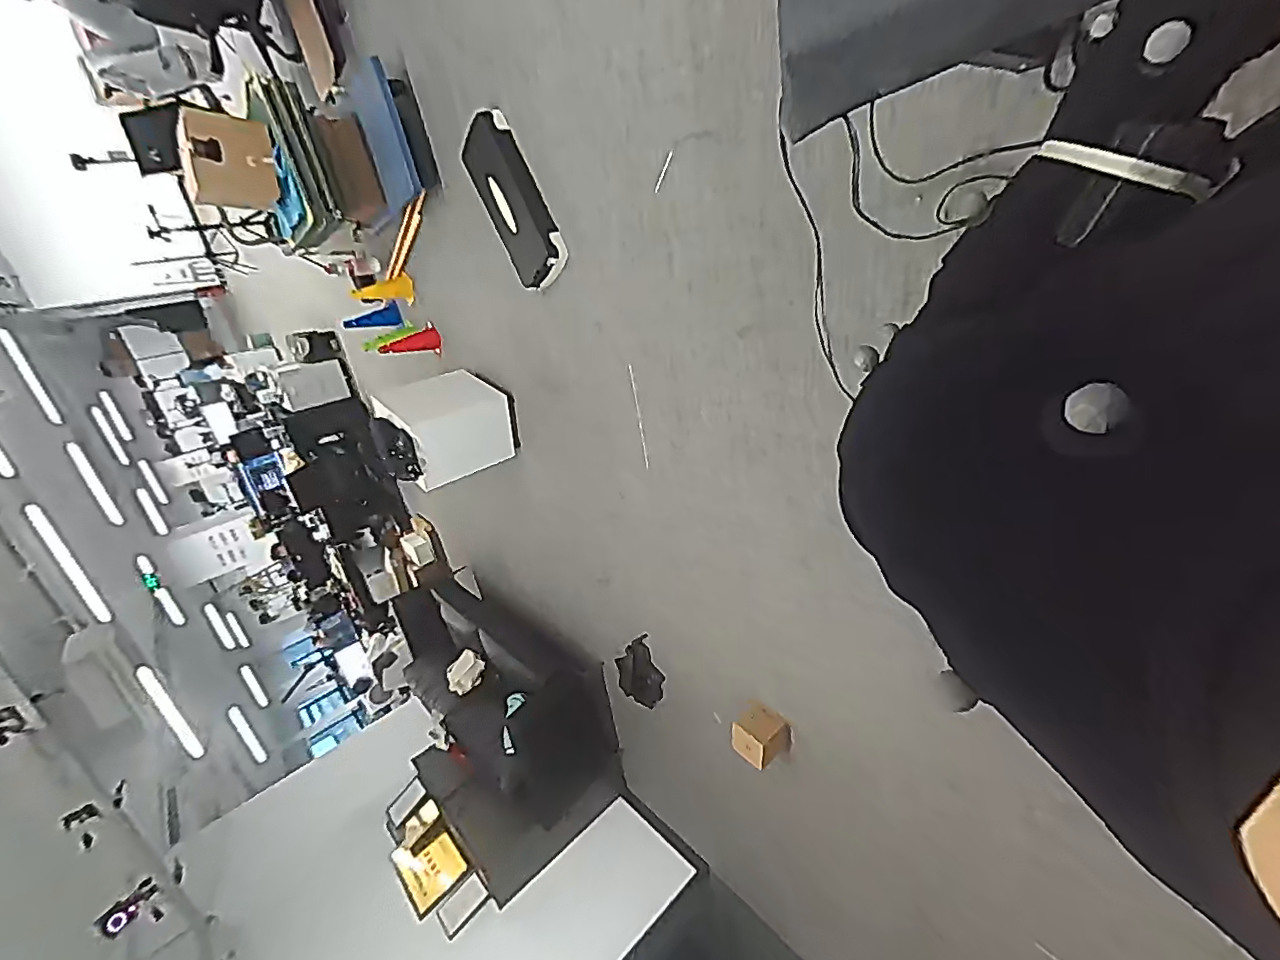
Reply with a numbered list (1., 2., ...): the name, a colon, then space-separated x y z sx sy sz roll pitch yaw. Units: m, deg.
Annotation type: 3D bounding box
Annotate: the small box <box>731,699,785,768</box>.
1. small box: 0.515 1.097 2.355 0.168 0.176 0.179 26 132 43
